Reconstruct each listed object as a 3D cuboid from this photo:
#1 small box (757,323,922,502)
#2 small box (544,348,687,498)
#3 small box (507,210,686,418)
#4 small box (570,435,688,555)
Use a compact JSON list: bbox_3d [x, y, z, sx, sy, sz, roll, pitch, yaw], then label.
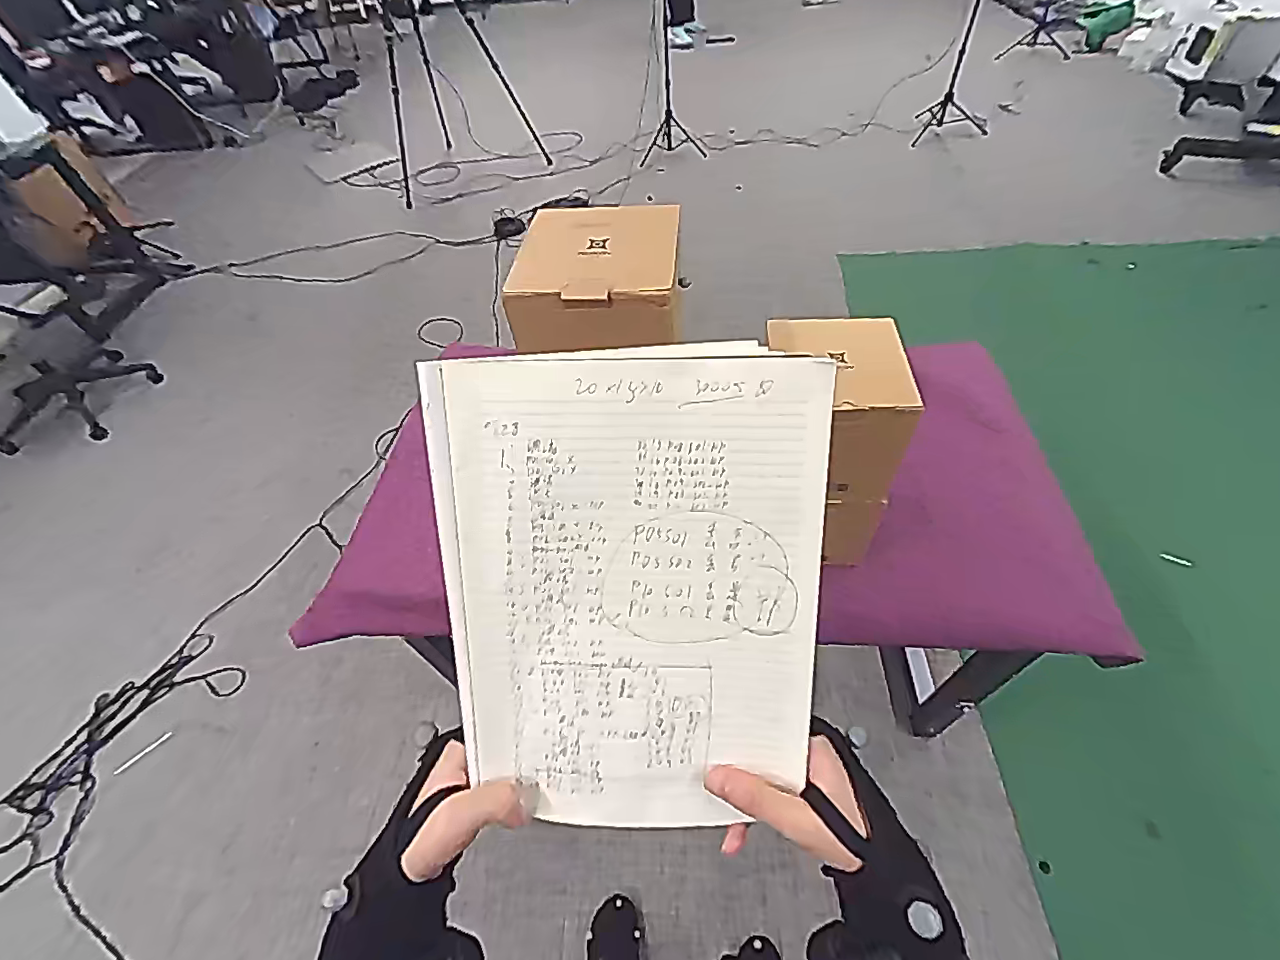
[{"bbox_3d":[0.251,-0.092,0.731,0.168,0.176,0.179,1,51,7],"label":"small box"},{"bbox_3d":[-0.021,-0.089,0.756,0.168,0.176,0.179,1,50,7],"label":"small box"},{"bbox_3d":[-0.034,-0.188,0.627,0.168,0.176,0.179,2,51,7],"label":"small box"},{"bbox_3d":[-0.008,0.010,0.888,0.168,0.176,0.179,1,52,6],"label":"small box"}]
